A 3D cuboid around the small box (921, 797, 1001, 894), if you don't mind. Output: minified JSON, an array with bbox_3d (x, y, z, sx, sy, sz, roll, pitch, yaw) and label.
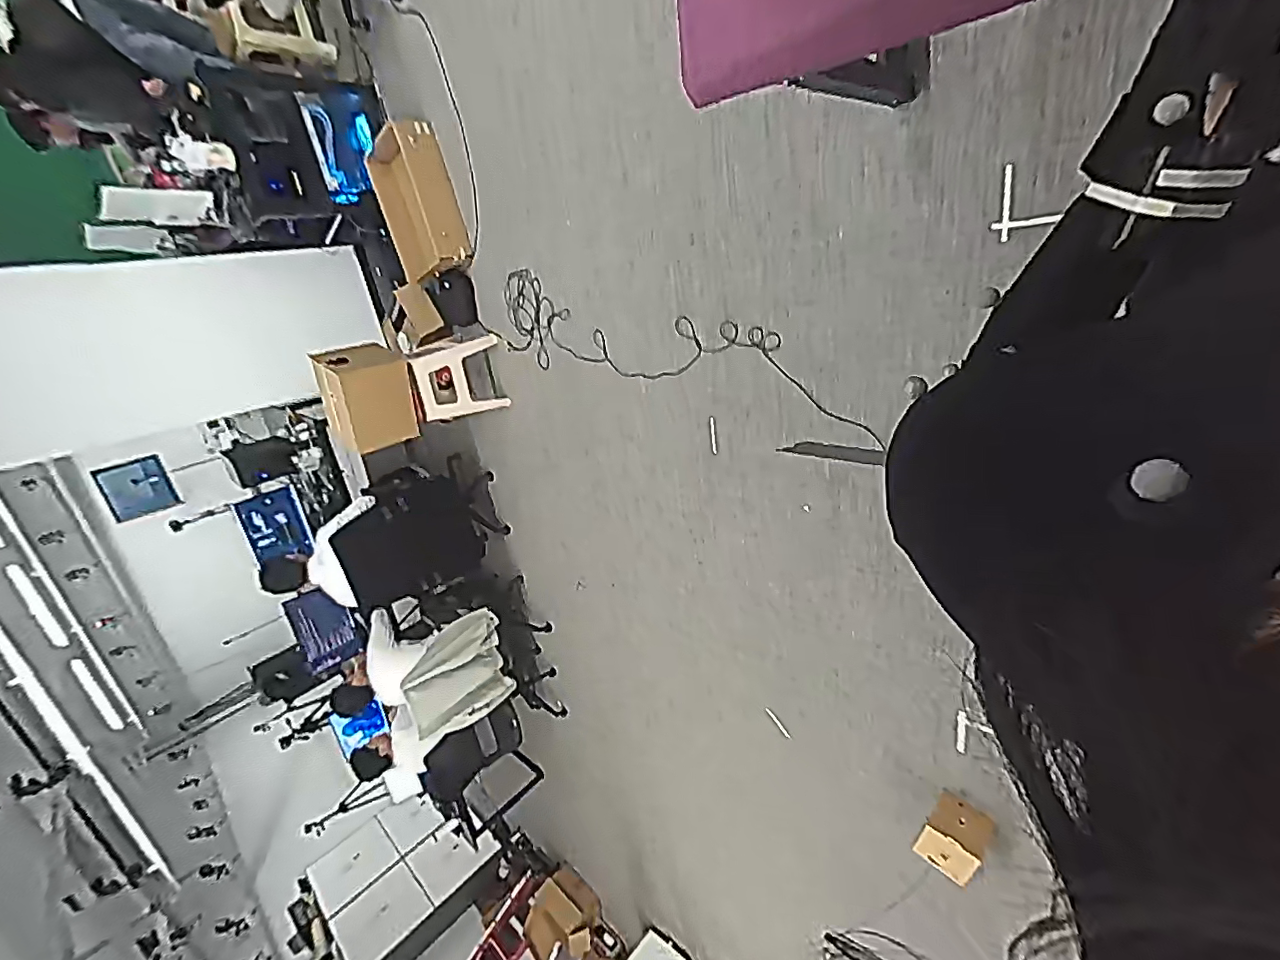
[{"bbox_3d":[1.075,1.212,1.804,0.168,0.176,0.179,28,129,35],"label":"small box"}]
